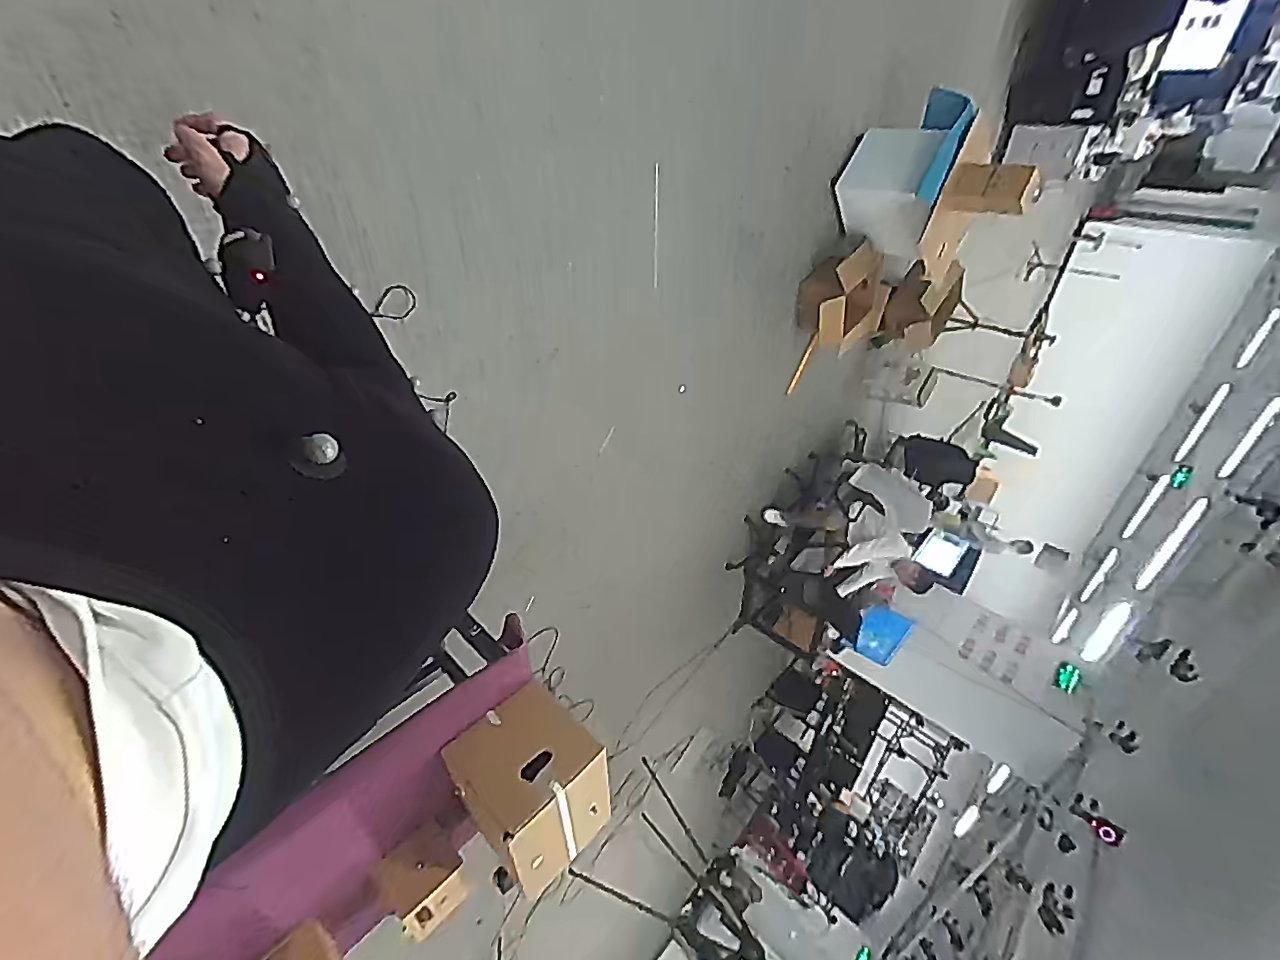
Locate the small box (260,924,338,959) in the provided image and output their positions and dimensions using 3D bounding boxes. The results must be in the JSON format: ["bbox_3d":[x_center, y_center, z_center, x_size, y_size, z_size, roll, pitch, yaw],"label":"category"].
[{"bbox_3d":[-0.800,1.197,1.262,0.168,0.176,0.179,-31,135,-37],"label":"small box"}]
